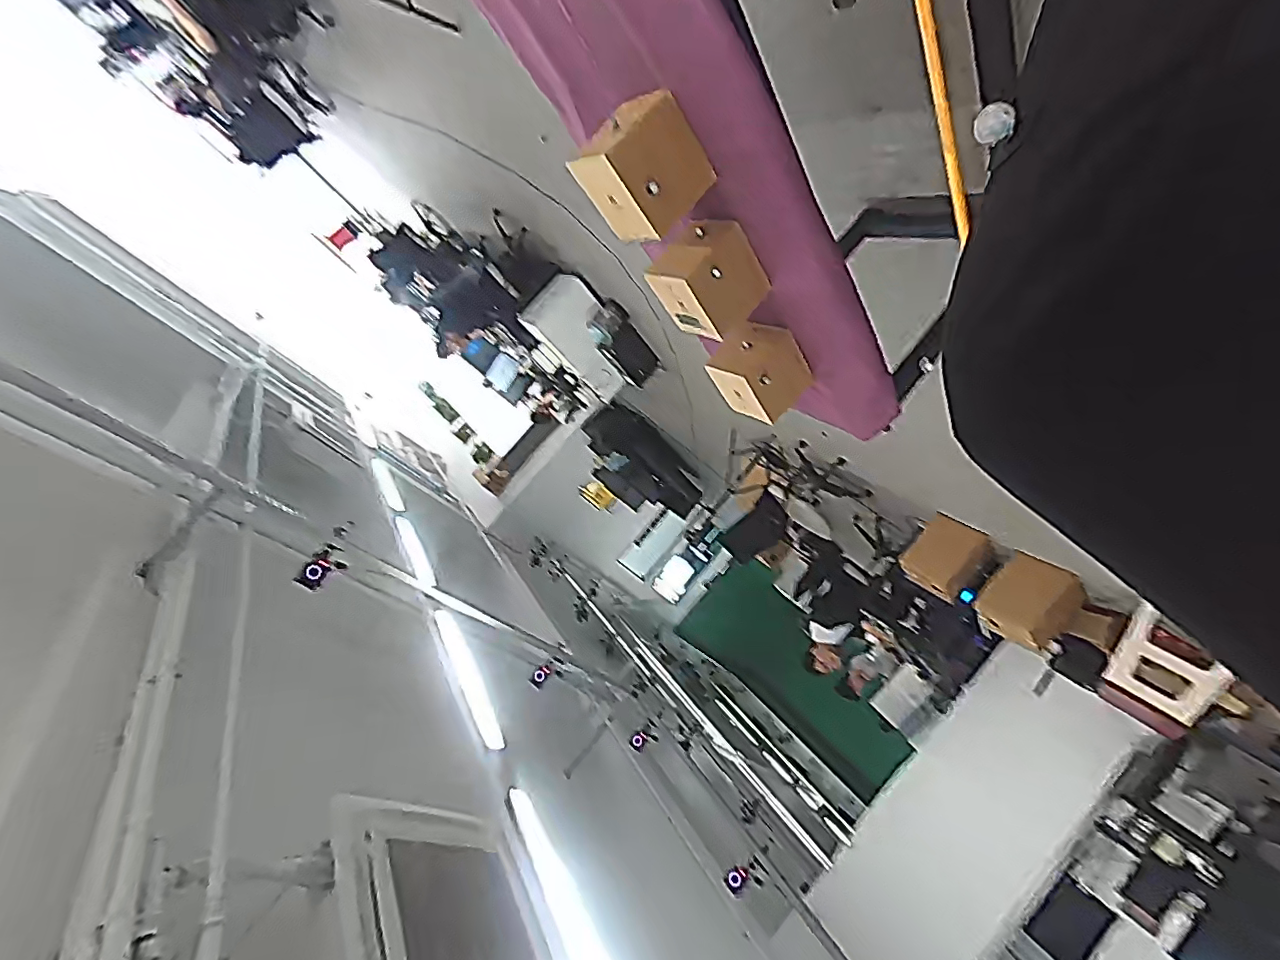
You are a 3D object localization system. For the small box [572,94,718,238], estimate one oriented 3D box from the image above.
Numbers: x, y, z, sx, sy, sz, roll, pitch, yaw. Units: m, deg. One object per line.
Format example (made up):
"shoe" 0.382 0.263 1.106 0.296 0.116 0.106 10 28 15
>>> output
"small box" 0.012 -0.587 1.019 0.179 0.176 0.168 43 176 -37

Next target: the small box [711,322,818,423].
"small box" 0.321 -0.280 1.386 0.179 0.176 0.168 47 174 -37
